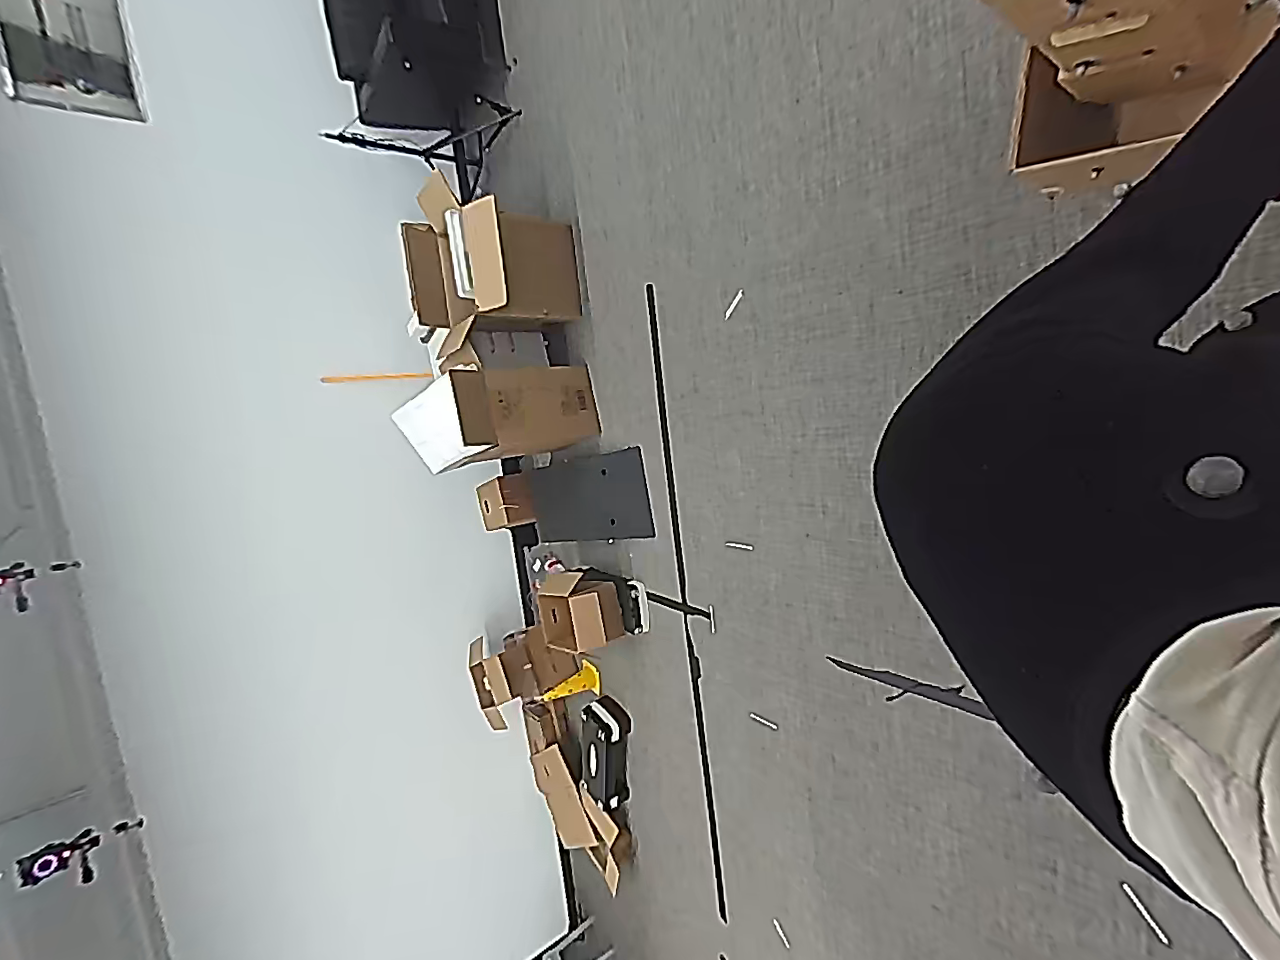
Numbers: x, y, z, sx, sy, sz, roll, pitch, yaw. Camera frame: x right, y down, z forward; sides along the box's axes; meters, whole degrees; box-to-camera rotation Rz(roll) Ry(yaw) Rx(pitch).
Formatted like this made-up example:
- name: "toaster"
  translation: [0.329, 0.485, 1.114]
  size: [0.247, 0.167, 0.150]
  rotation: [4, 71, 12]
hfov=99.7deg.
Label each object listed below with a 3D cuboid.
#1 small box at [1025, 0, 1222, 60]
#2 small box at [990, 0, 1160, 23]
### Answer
- name: "small box"
  translation: [0.637, -0.670, 0.689]
  size: [0.168, 0.176, 0.179]
  rotation: [27, 119, 47]
- name: "small box"
  translation: [0.507, -0.640, 0.592]
  size: [0.168, 0.176, 0.179]
  rotation: [32, 123, 45]
